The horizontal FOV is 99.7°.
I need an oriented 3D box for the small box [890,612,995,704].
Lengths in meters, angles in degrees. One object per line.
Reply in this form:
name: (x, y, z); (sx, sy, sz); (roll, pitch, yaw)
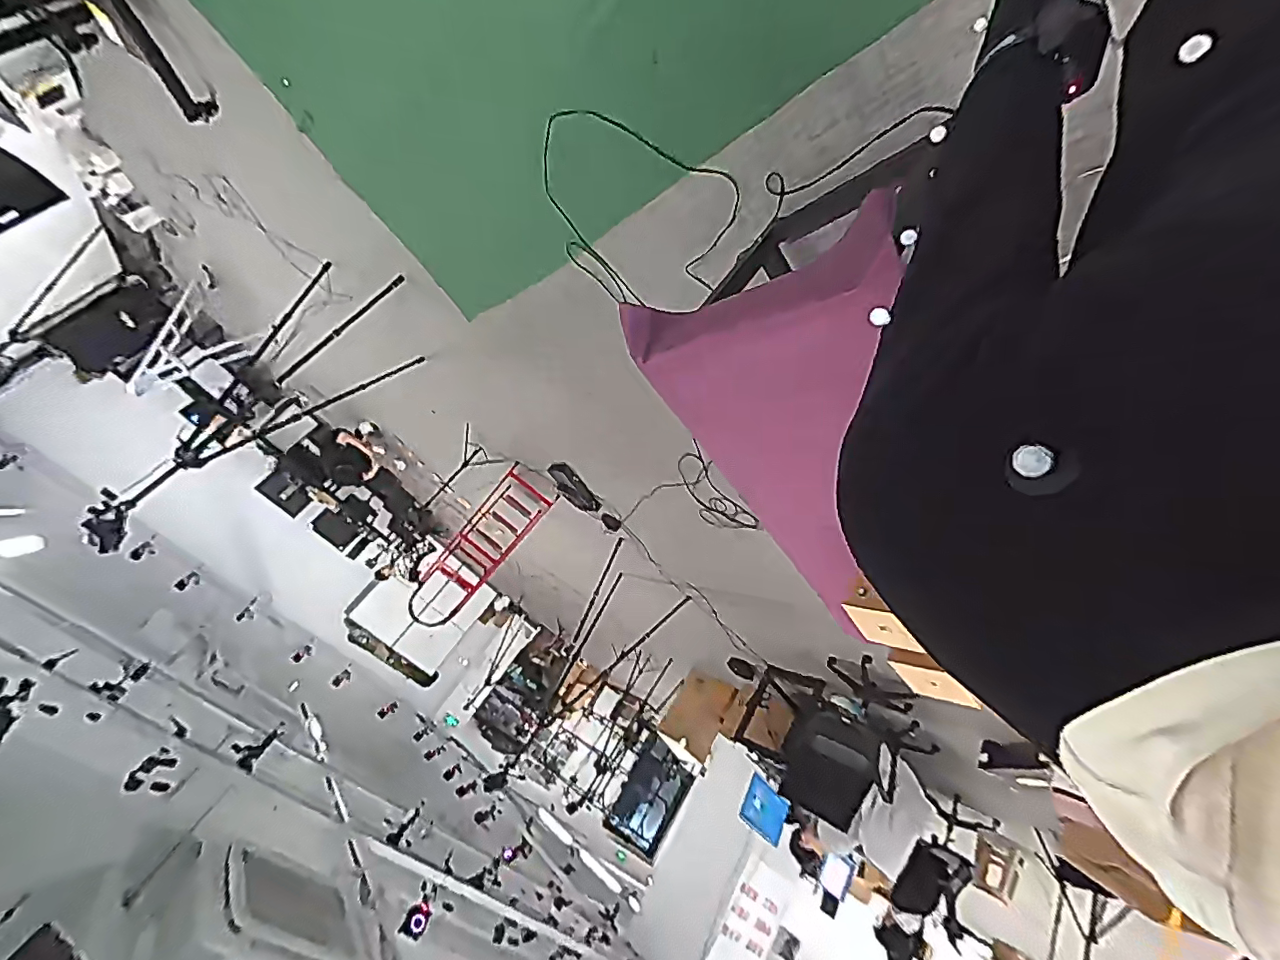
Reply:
small box: (0.818, 0.467, 1.461); (0.168, 0.176, 0.179); (46, 152, -21)

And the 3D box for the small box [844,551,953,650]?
small box: (0.658, 0.297, 1.372); (0.179, 0.176, 0.168); (-2, 135, 52)
